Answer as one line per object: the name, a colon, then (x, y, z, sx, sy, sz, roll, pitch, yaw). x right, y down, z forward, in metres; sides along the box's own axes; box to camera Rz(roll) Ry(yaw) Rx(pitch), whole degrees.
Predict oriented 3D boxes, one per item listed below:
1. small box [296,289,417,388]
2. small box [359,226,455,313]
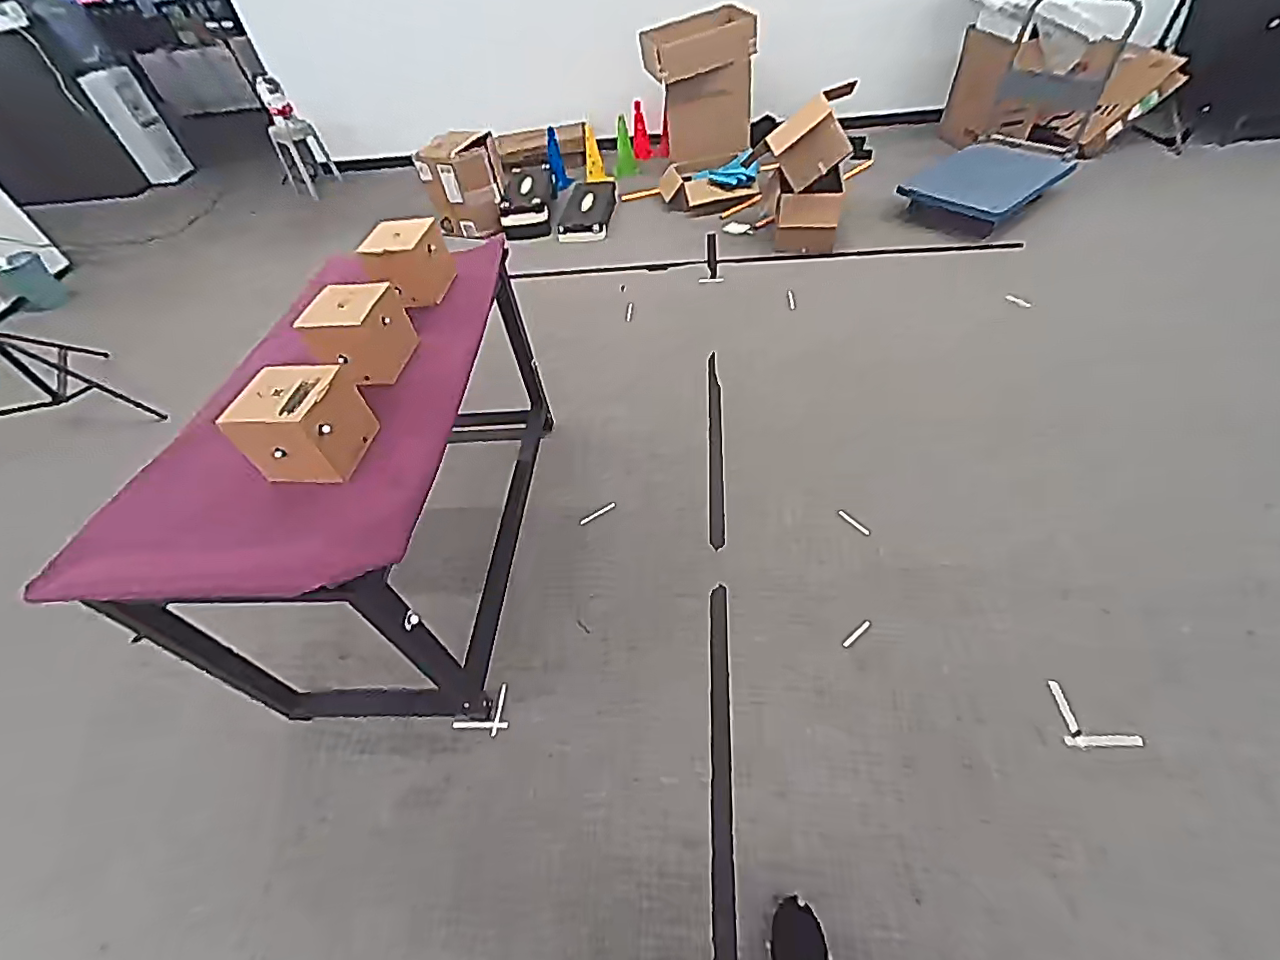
small box: (-0.660, -0.332, 1.288, 0.168, 0.176, 0.179, 1, 48, 8)
small box: (-0.637, -0.585, 1.508, 0.168, 0.176, 0.179, 0, 50, 9)
